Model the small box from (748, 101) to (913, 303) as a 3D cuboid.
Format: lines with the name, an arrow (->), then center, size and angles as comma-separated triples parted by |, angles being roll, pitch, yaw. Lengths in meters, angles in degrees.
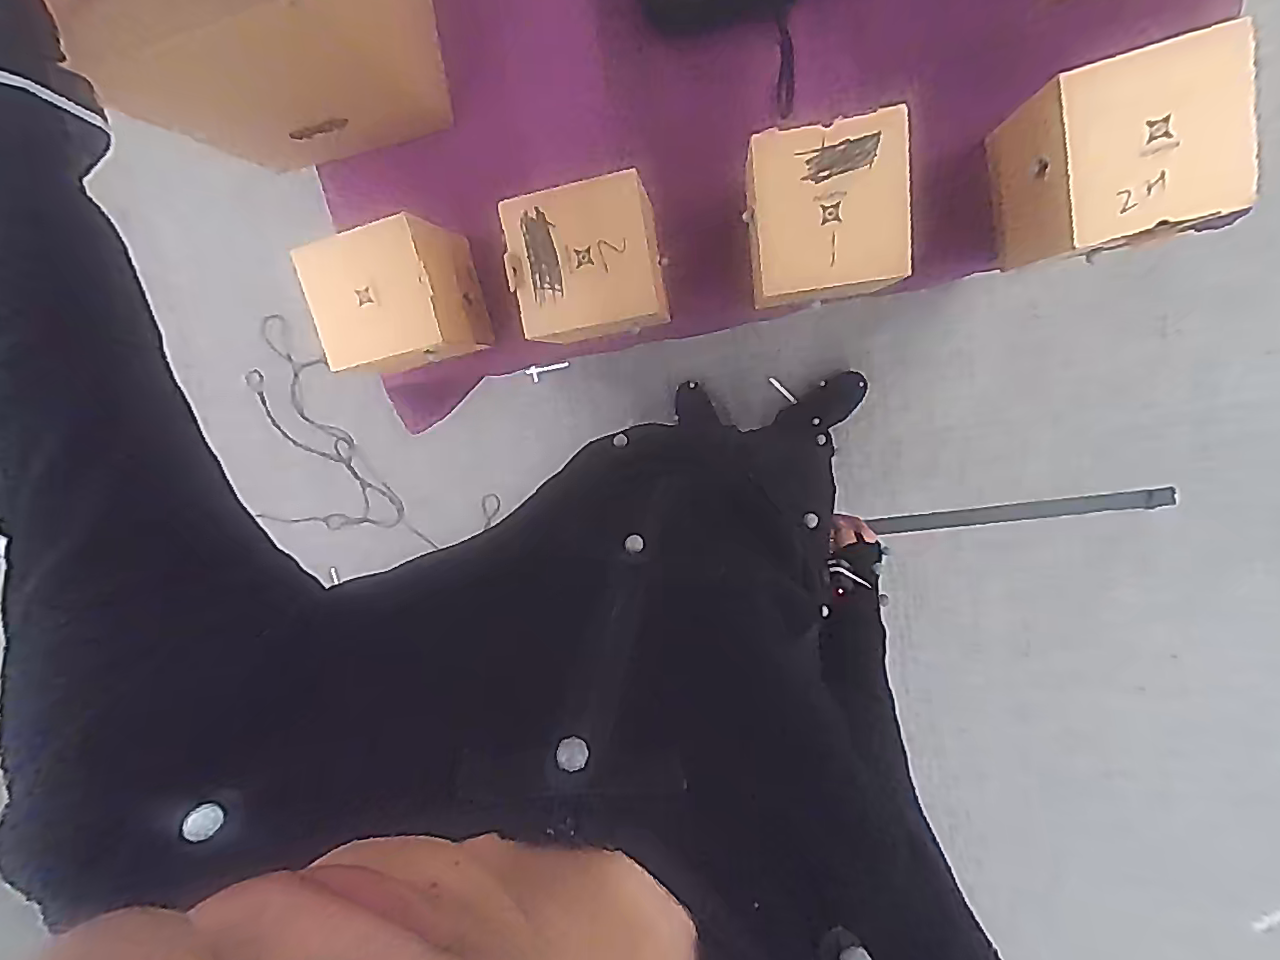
small box -> 0.227, -0.328, 0.678 | 0.168, 0.176, 0.179 | -5, 103, 11

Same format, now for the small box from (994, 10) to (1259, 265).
small box -> 0.533, -0.365, 0.617 | 0.168, 0.176, 0.179 | -10, 102, 13

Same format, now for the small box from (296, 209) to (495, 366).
small box -> -0.340, -0.264, 0.784 | 0.179, 0.176, 0.168 | -12, 101, 10
